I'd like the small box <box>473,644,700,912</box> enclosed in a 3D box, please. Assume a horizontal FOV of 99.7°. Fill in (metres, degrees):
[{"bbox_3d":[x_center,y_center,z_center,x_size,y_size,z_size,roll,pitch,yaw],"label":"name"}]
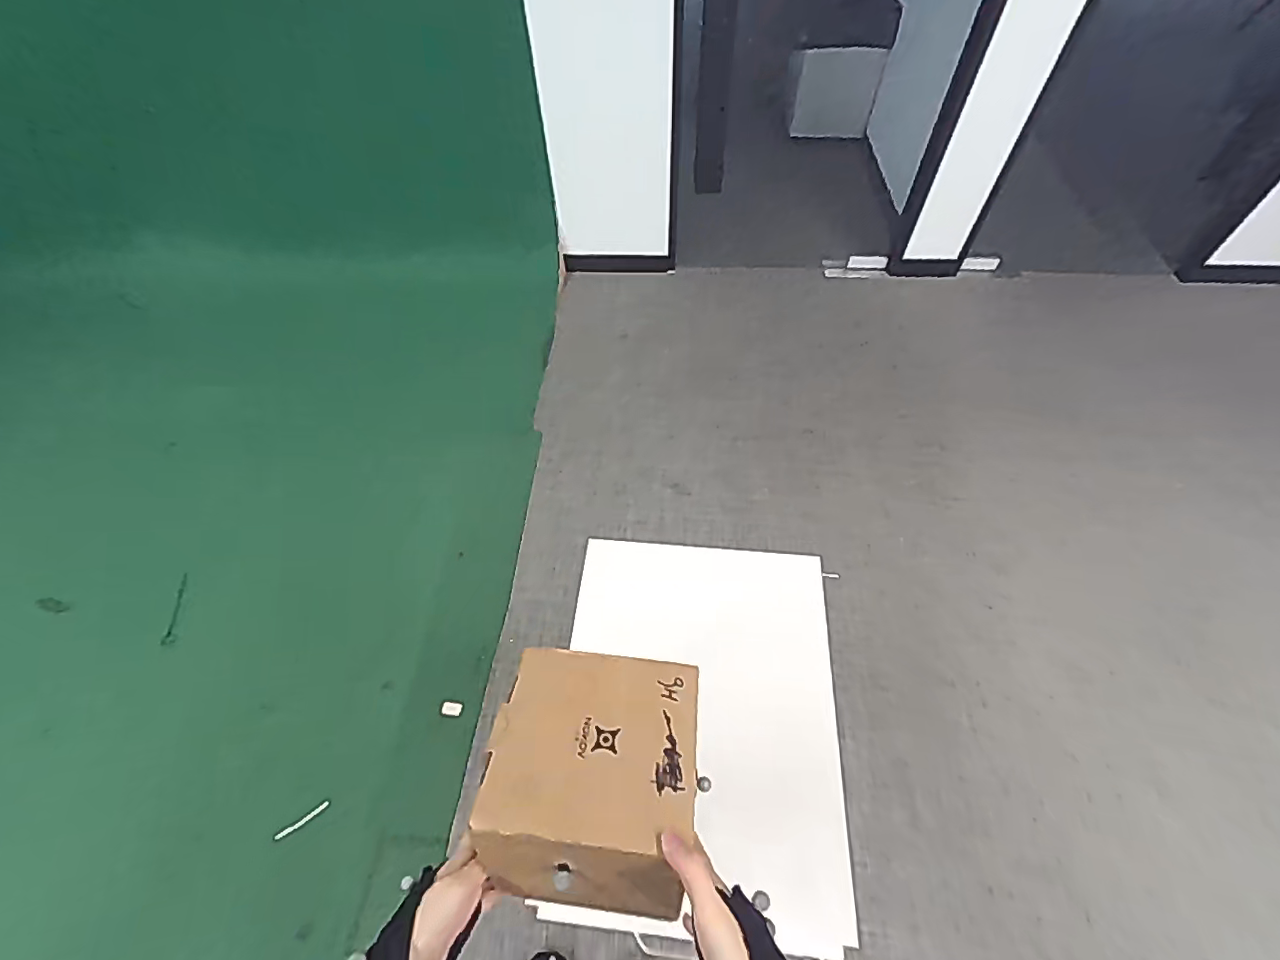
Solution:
[{"bbox_3d":[-0.039,0.288,0.528,0.179,0.176,0.168,6,37,5],"label":"small box"}]
